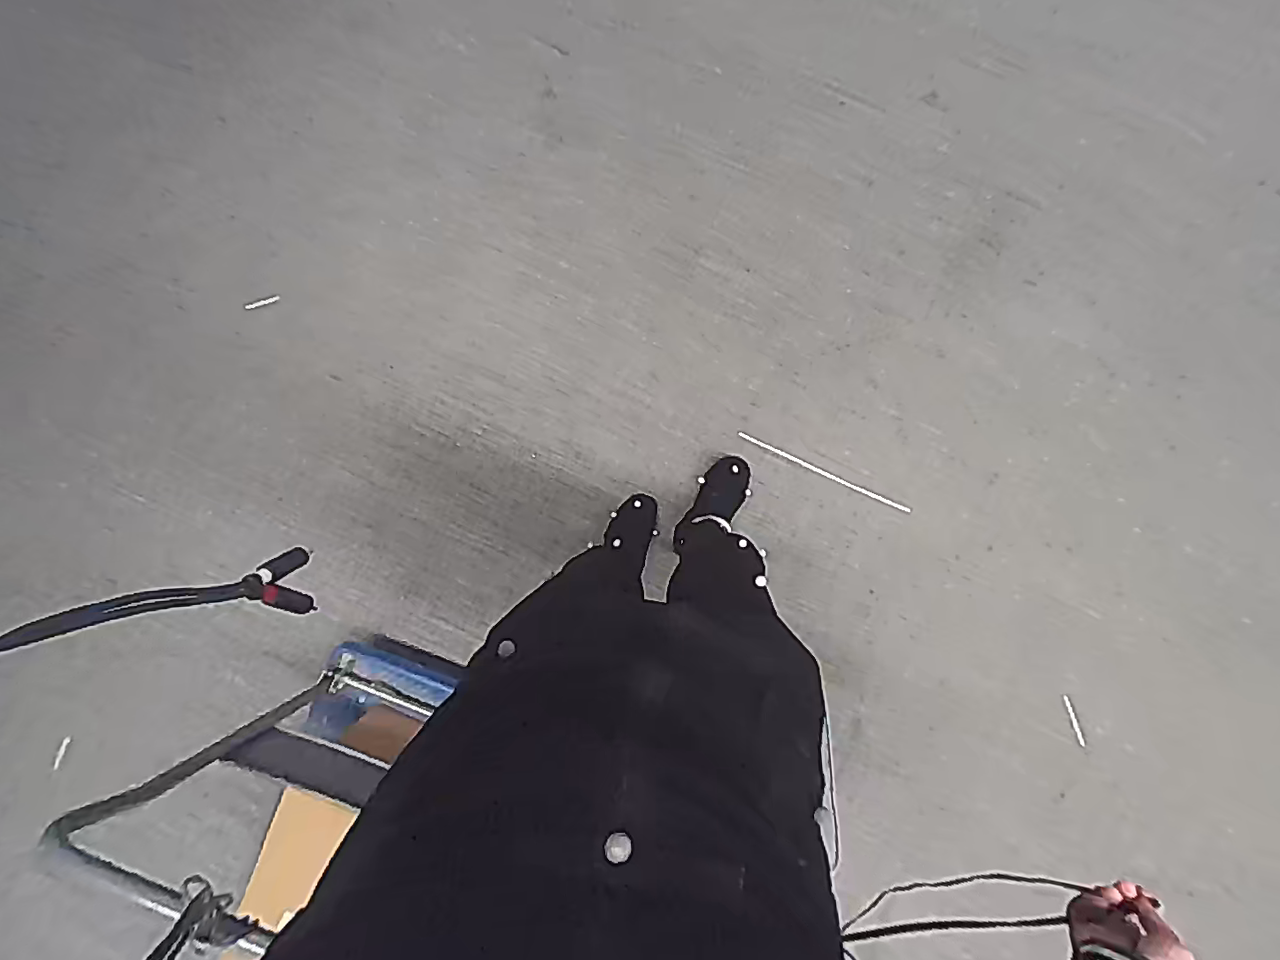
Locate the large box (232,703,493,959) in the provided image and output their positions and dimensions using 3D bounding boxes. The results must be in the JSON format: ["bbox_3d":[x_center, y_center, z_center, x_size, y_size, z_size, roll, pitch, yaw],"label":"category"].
[{"bbox_3d":[-0.568,0.779,1.174,0.320,0.320,0.408,23,93,2],"label":"large box"}]
